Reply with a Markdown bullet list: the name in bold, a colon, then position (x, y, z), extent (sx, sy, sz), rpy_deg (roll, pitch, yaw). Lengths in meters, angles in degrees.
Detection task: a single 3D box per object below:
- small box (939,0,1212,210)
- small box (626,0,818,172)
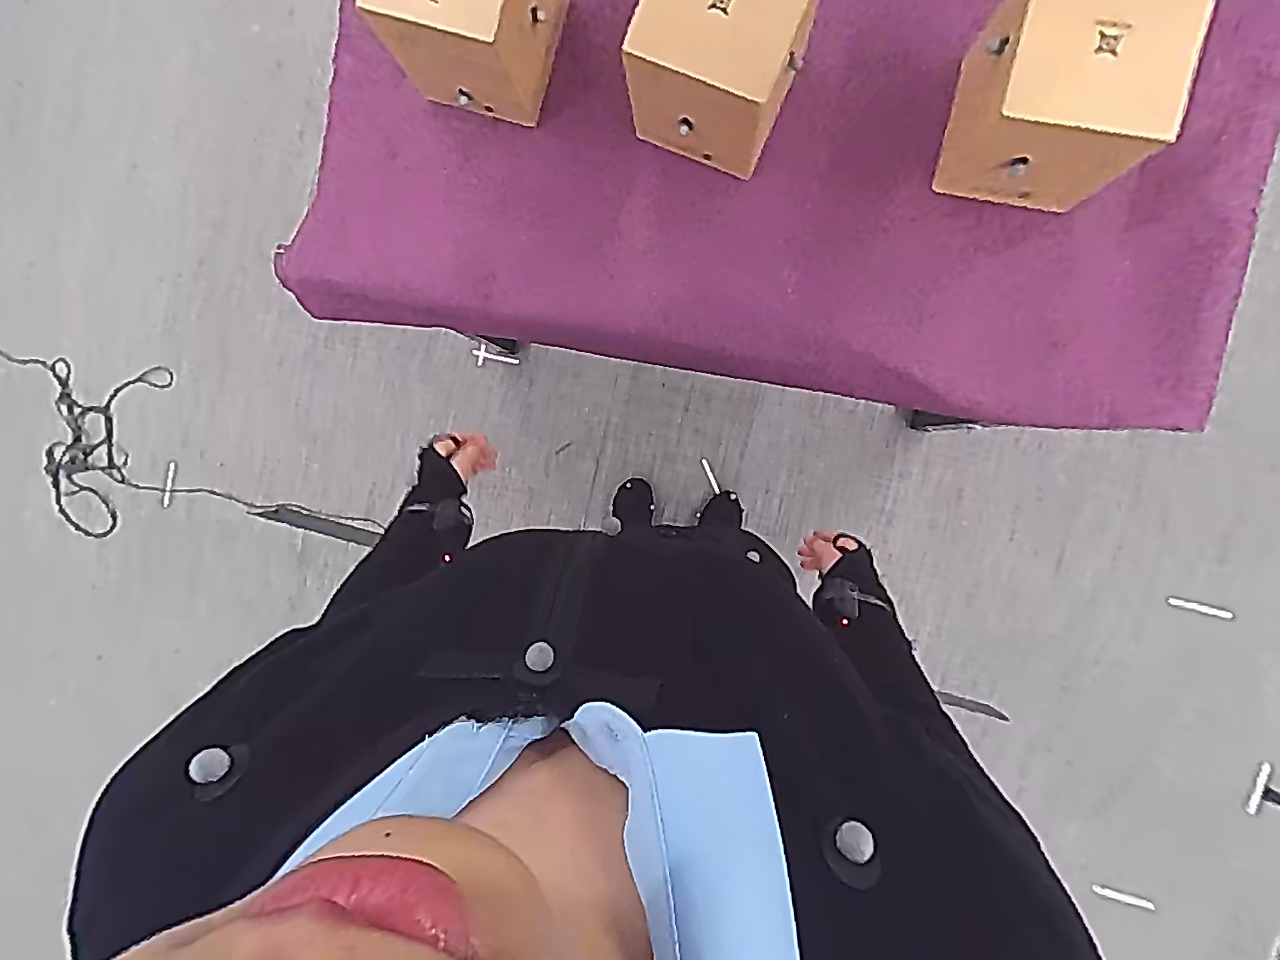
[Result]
- **small box**: position (0.470, -0.436, 0.612), extent (0.168, 0.176, 0.179), rpy_deg (13, 94, 5)
- **small box**: position (0.100, -0.509, 0.641), extent (0.168, 0.176, 0.179), rpy_deg (24, 95, 3)
